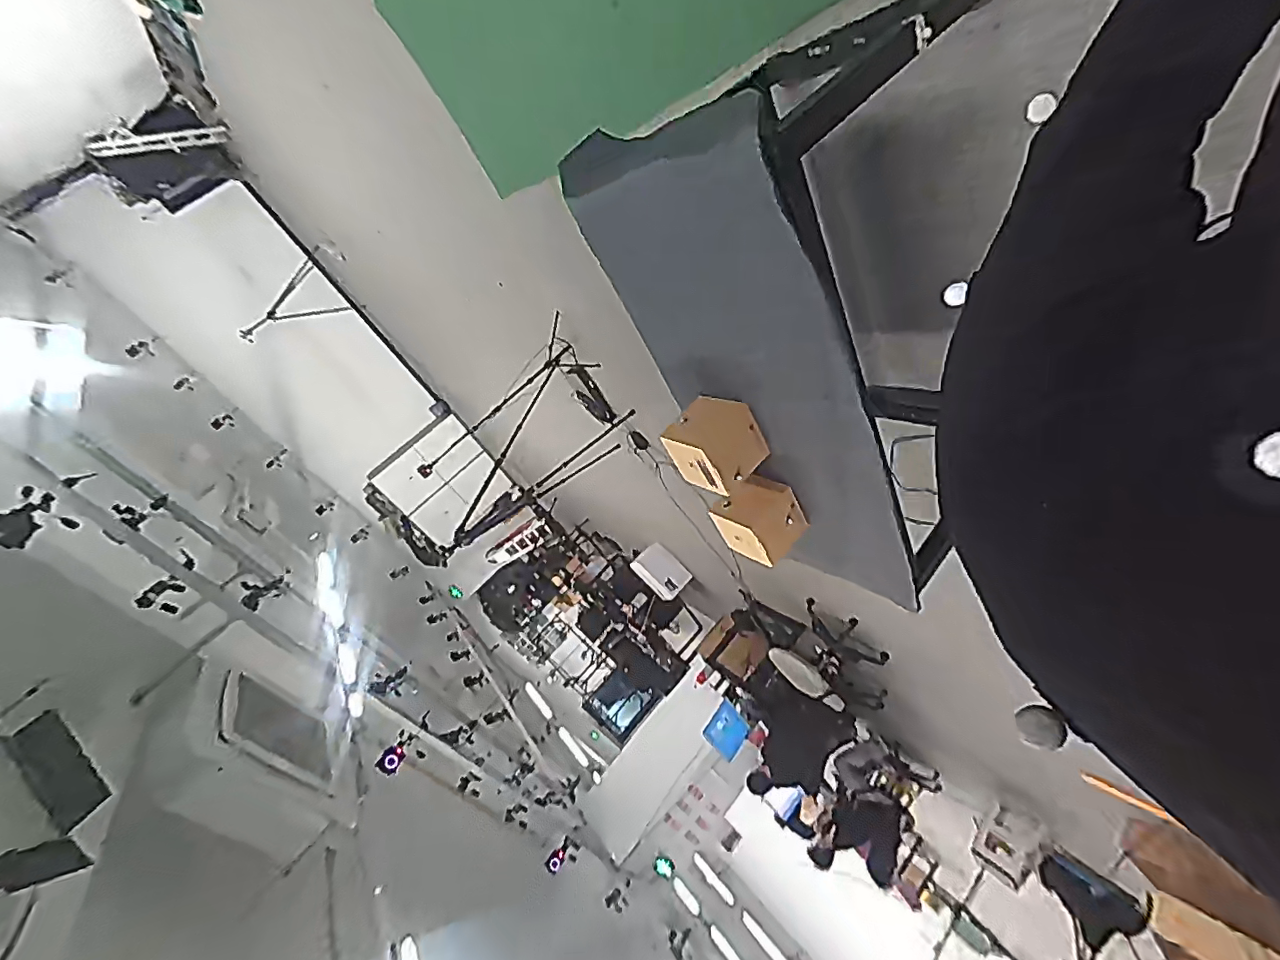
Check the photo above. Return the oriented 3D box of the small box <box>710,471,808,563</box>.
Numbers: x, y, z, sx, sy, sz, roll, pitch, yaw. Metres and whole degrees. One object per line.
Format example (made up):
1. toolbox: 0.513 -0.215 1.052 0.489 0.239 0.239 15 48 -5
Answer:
1. small box: 0.337 0.096 1.516 0.179 0.176 0.168 21 152 52
